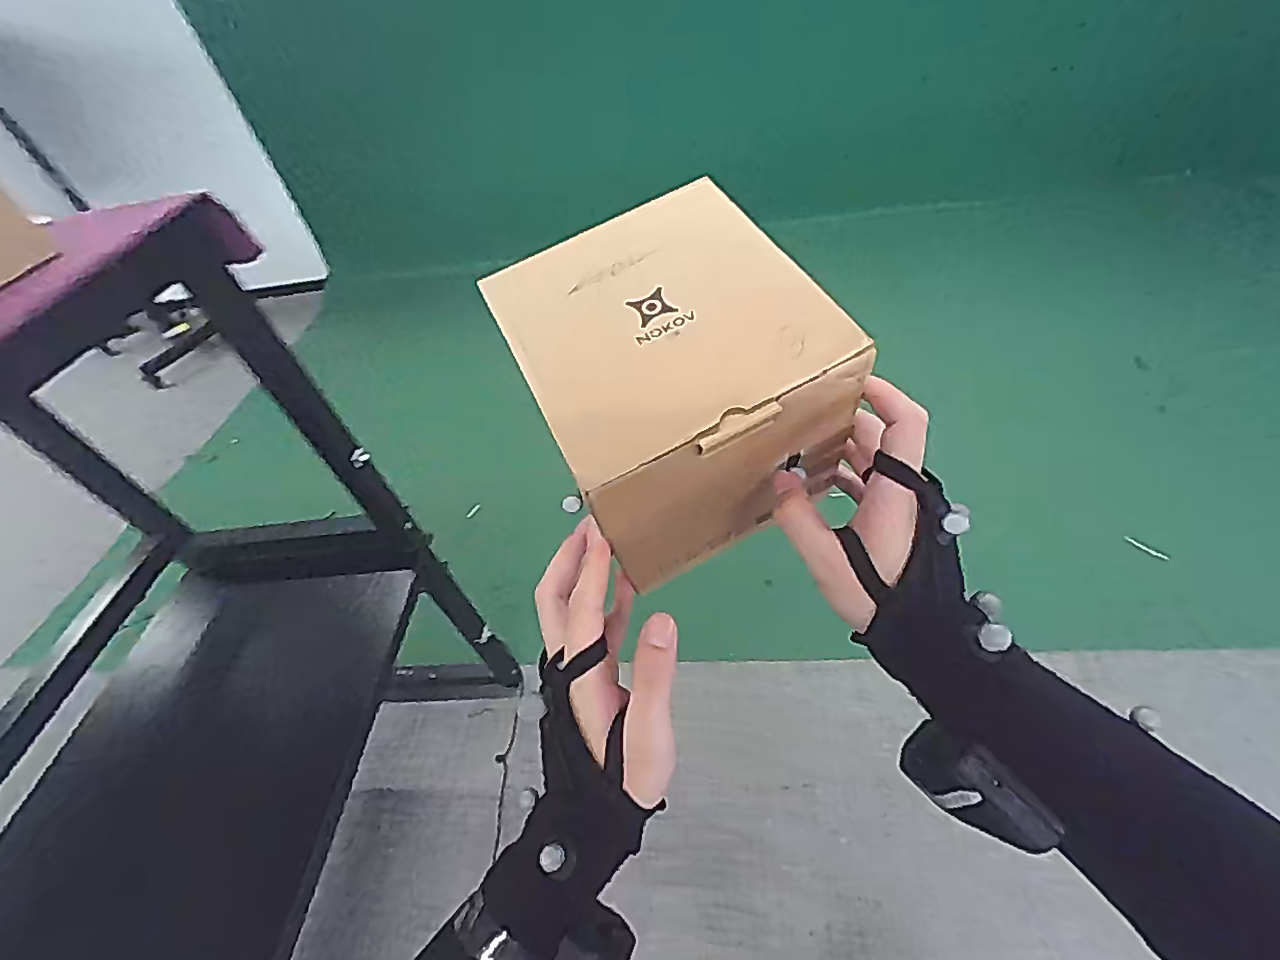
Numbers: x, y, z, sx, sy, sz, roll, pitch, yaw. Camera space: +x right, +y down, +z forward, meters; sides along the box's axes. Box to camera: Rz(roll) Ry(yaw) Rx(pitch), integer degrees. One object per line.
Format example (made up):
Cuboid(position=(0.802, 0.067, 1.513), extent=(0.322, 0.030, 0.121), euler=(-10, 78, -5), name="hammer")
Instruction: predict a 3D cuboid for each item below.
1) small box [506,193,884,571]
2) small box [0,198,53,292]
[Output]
Cuboid(position=(0.033, -0.054, 0.383), extent=(0.168, 0.176, 0.179), euler=(-26, 61, -6), name="small box")
Cuboid(position=(-0.766, -0.246, 0.527), extent=(0.168, 0.176, 0.179), euler=(-5, 46, 8), name="small box")
